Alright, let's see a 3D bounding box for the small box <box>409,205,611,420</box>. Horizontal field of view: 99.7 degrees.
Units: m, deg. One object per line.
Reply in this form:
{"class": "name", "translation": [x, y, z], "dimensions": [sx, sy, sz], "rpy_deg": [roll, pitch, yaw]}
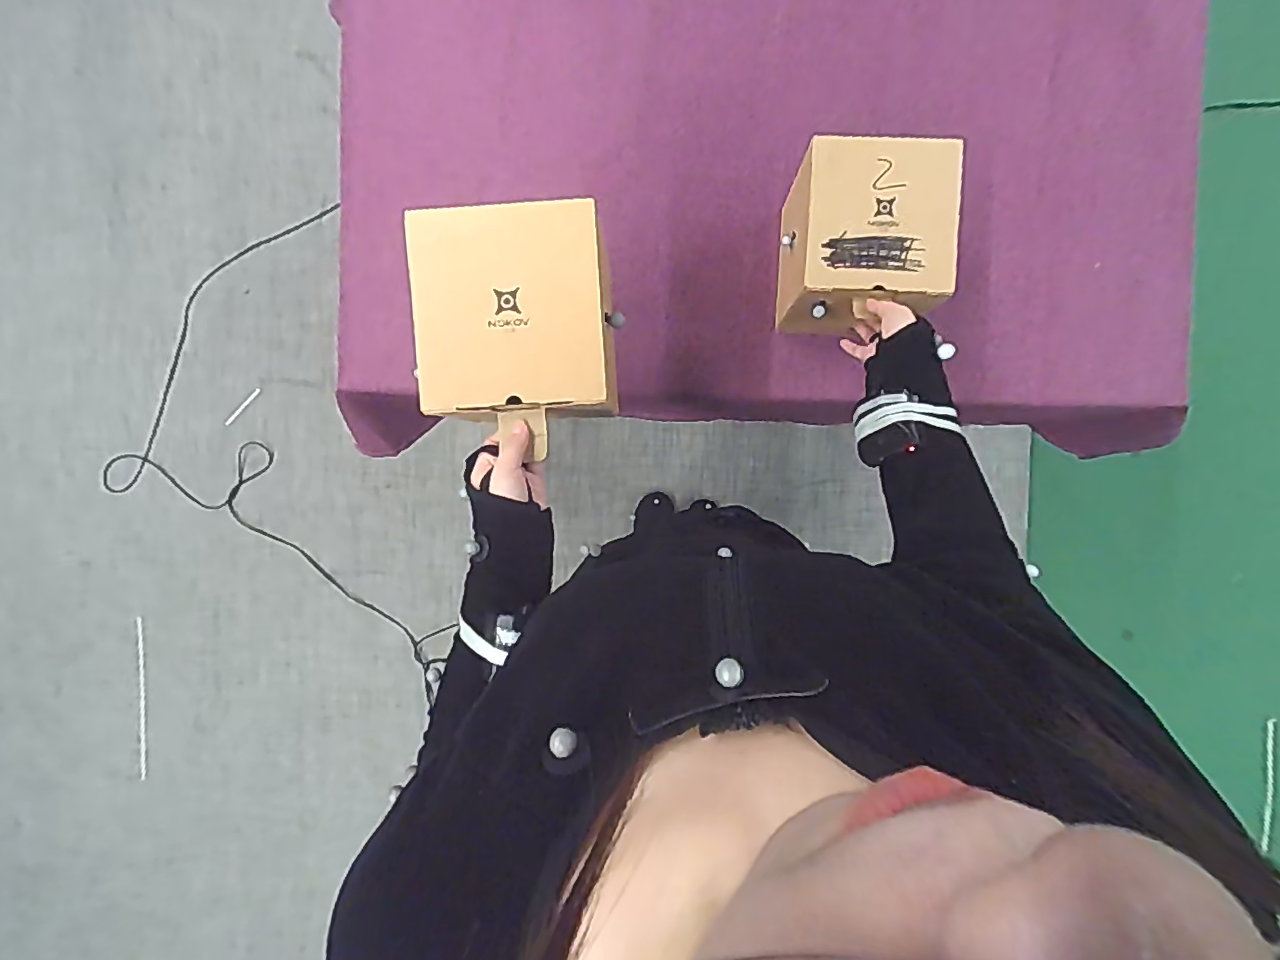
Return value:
{"class": "small box", "translation": [-0.120, -0.158, 0.562], "dimensions": [0.168, 0.176, 0.179], "rpy_deg": [-4, 94, 1]}
